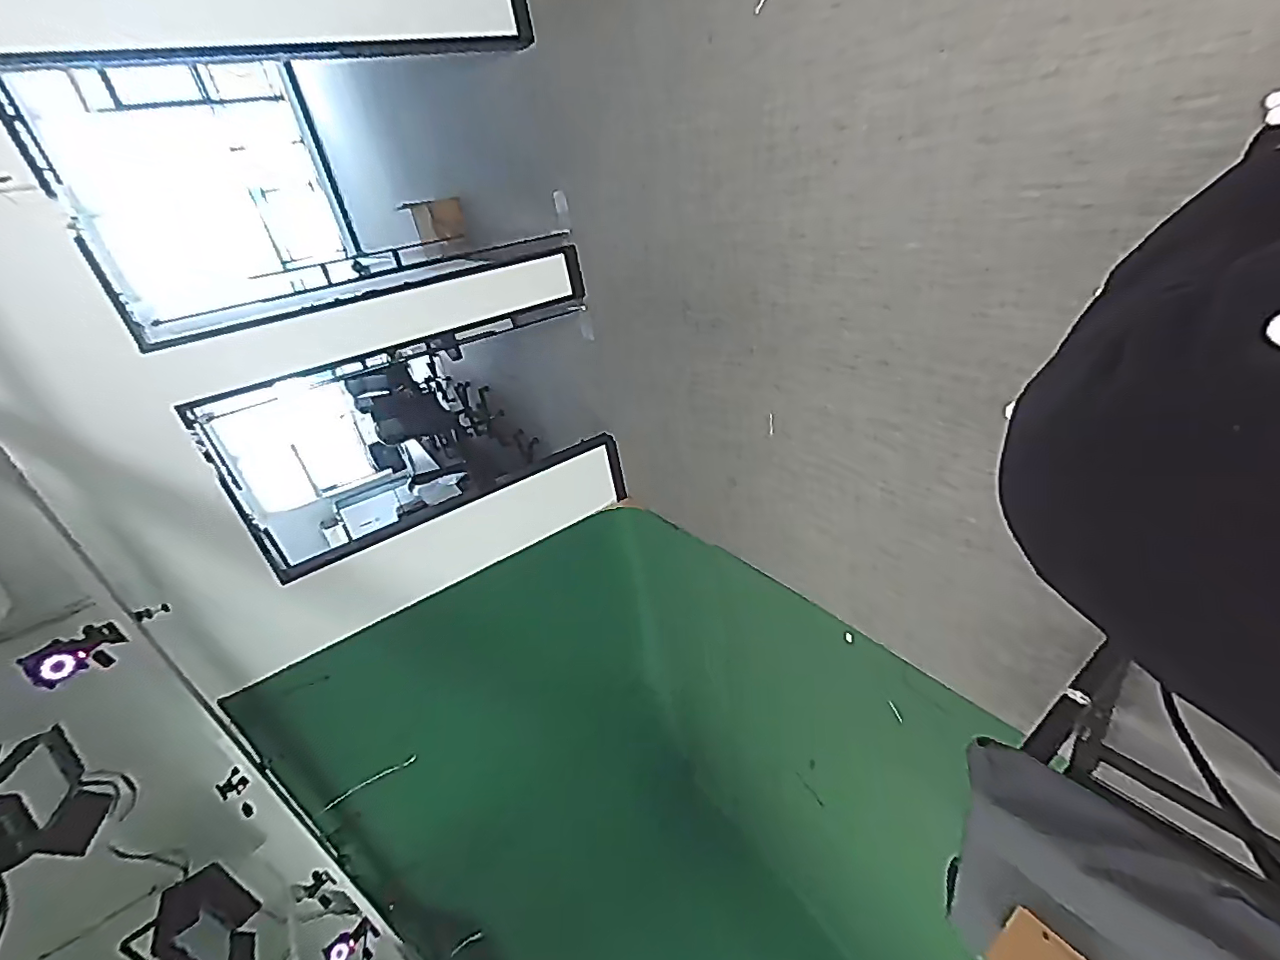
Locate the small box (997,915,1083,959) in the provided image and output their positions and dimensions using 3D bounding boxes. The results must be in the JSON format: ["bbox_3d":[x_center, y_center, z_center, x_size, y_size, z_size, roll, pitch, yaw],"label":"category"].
[{"bbox_3d":[0.851,1.081,1.139,0.168,0.176,0.179,29,138,49],"label":"small box"}]
